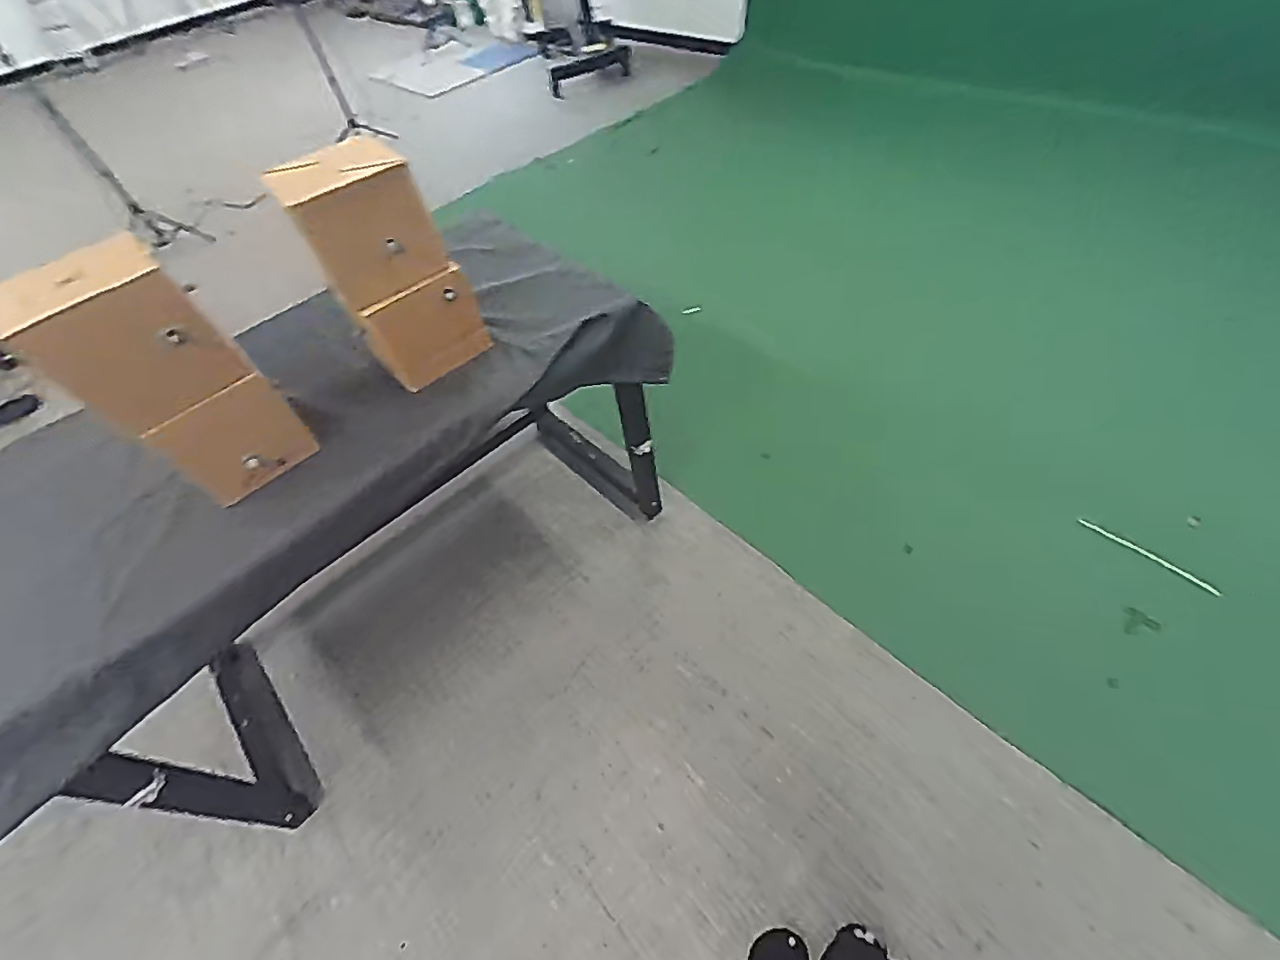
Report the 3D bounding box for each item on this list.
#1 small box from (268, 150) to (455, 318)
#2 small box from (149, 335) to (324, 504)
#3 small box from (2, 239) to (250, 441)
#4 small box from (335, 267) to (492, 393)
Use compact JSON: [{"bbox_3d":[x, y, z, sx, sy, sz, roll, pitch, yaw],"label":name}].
[{"bbox_3d":[-0.432,-0.395,0.851,0.179,0.176,0.168,-35,55,-18],"label":"small box"},{"bbox_3d":[-0.650,-0.094,0.861,0.168,0.176,0.179,-40,58,-21],"label":"small box"},{"bbox_3d":[-0.673,-0.188,0.731,0.179,0.176,0.168,-42,57,-21],"label":"small box"},{"bbox_3d":[-0.399,-0.287,0.976,0.179,0.176,0.168,-38,56,-20],"label":"small box"}]
